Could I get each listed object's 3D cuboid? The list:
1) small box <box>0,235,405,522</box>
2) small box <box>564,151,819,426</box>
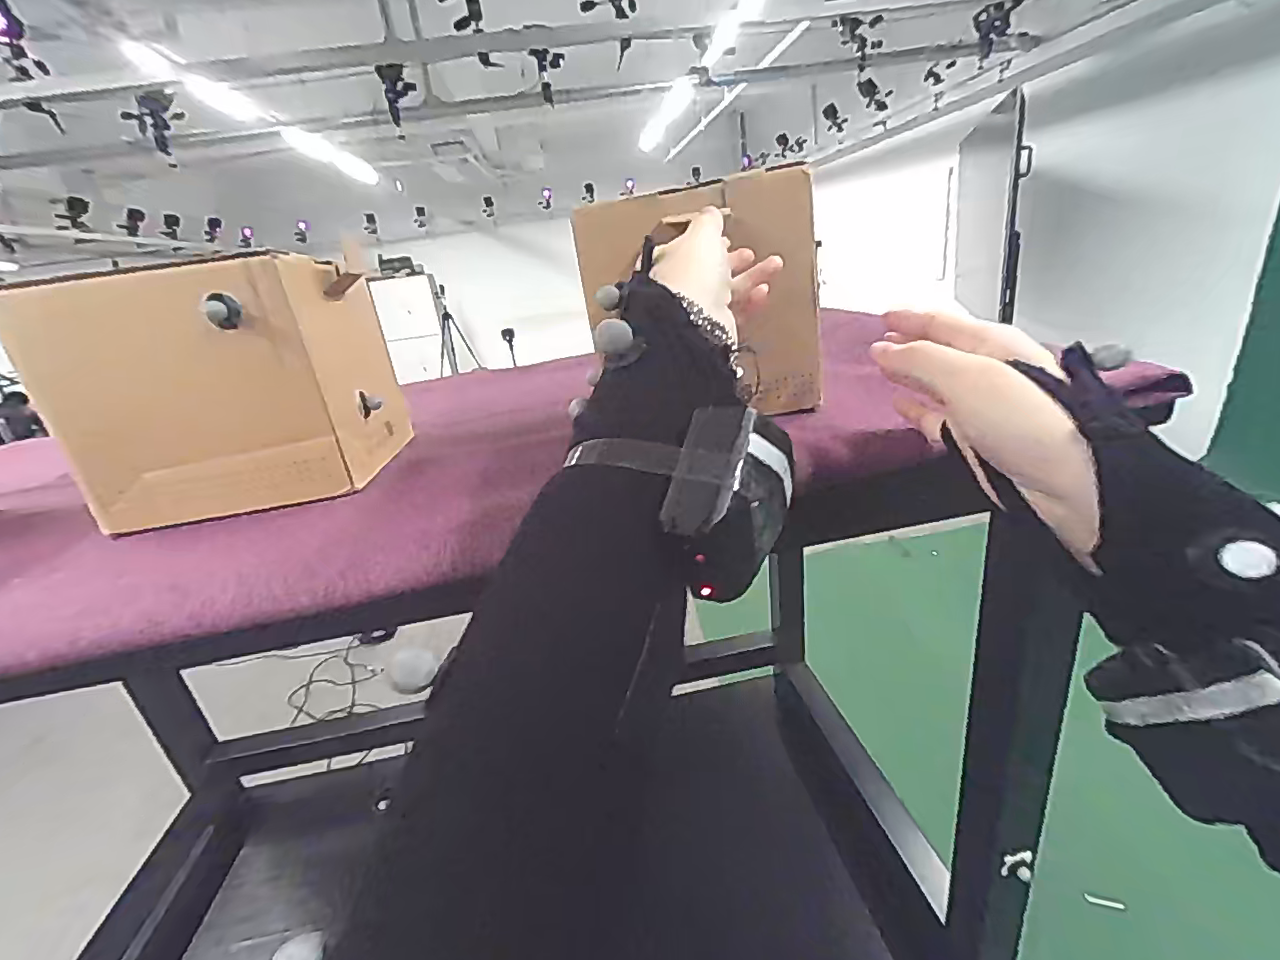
[{"bbox_3d":[-0.312,-0.079,0.420,0.179,0.176,0.168,-10,20,-5],"label":"small box"},{"bbox_3d":[0.042,-0.149,0.454,0.168,0.176,0.179,-9,21,2],"label":"small box"}]
